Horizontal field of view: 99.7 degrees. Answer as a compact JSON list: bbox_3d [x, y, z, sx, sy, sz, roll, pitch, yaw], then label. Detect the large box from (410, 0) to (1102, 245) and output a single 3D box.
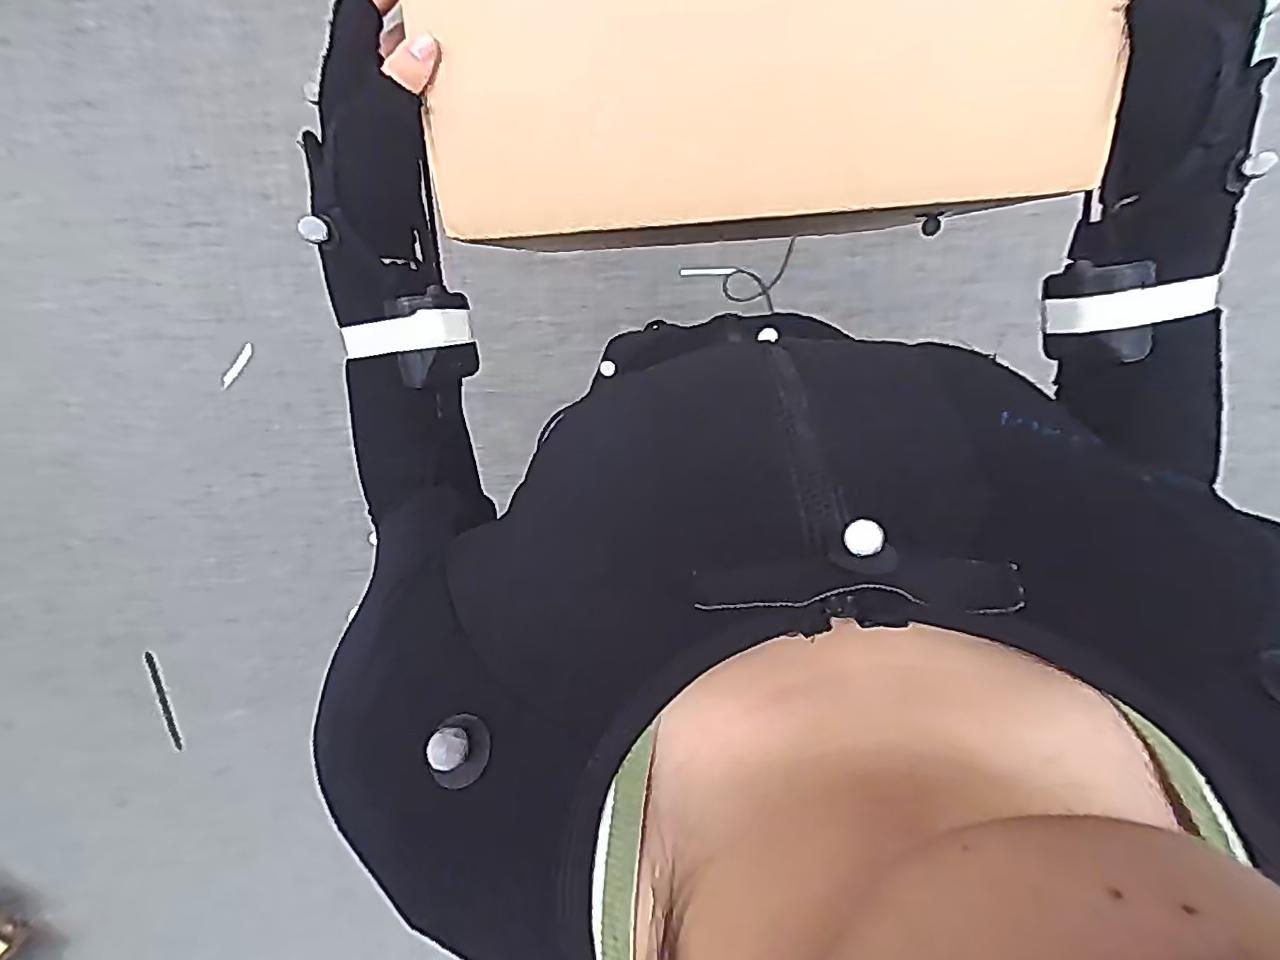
[{"bbox_3d":[0.066,-0.370,0.431,0.408,0.320,0.320,-3,111,2],"label":"large box"}]
